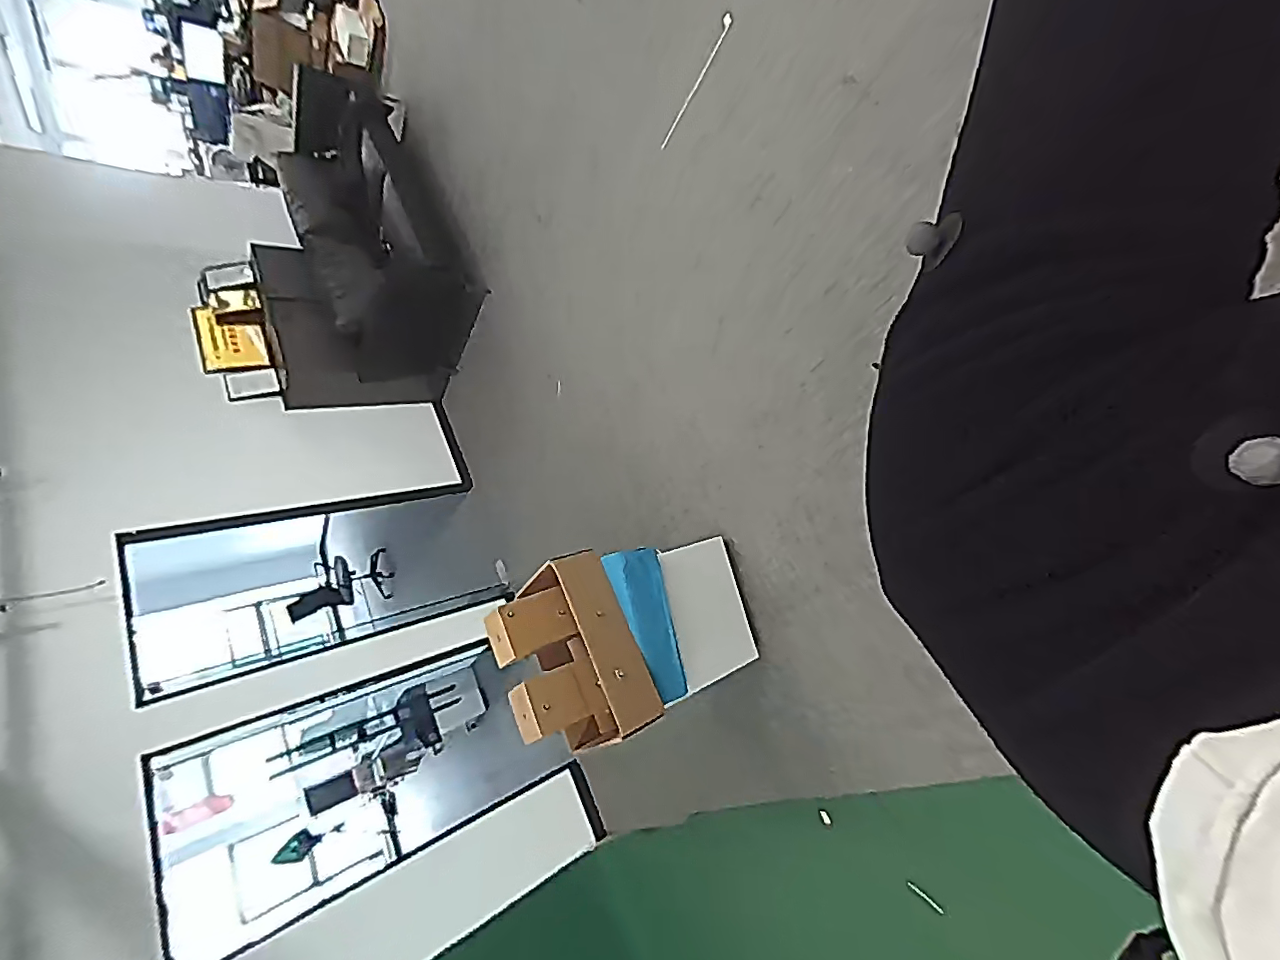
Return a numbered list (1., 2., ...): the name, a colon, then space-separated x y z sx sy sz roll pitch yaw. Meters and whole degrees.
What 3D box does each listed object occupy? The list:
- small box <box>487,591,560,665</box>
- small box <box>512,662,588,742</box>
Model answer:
1. small box: -0.392 0.499 1.832 0.168 0.176 0.179 -44 65 47
2. small box: -0.289 0.716 1.749 0.168 0.176 0.179 -46 62 46
